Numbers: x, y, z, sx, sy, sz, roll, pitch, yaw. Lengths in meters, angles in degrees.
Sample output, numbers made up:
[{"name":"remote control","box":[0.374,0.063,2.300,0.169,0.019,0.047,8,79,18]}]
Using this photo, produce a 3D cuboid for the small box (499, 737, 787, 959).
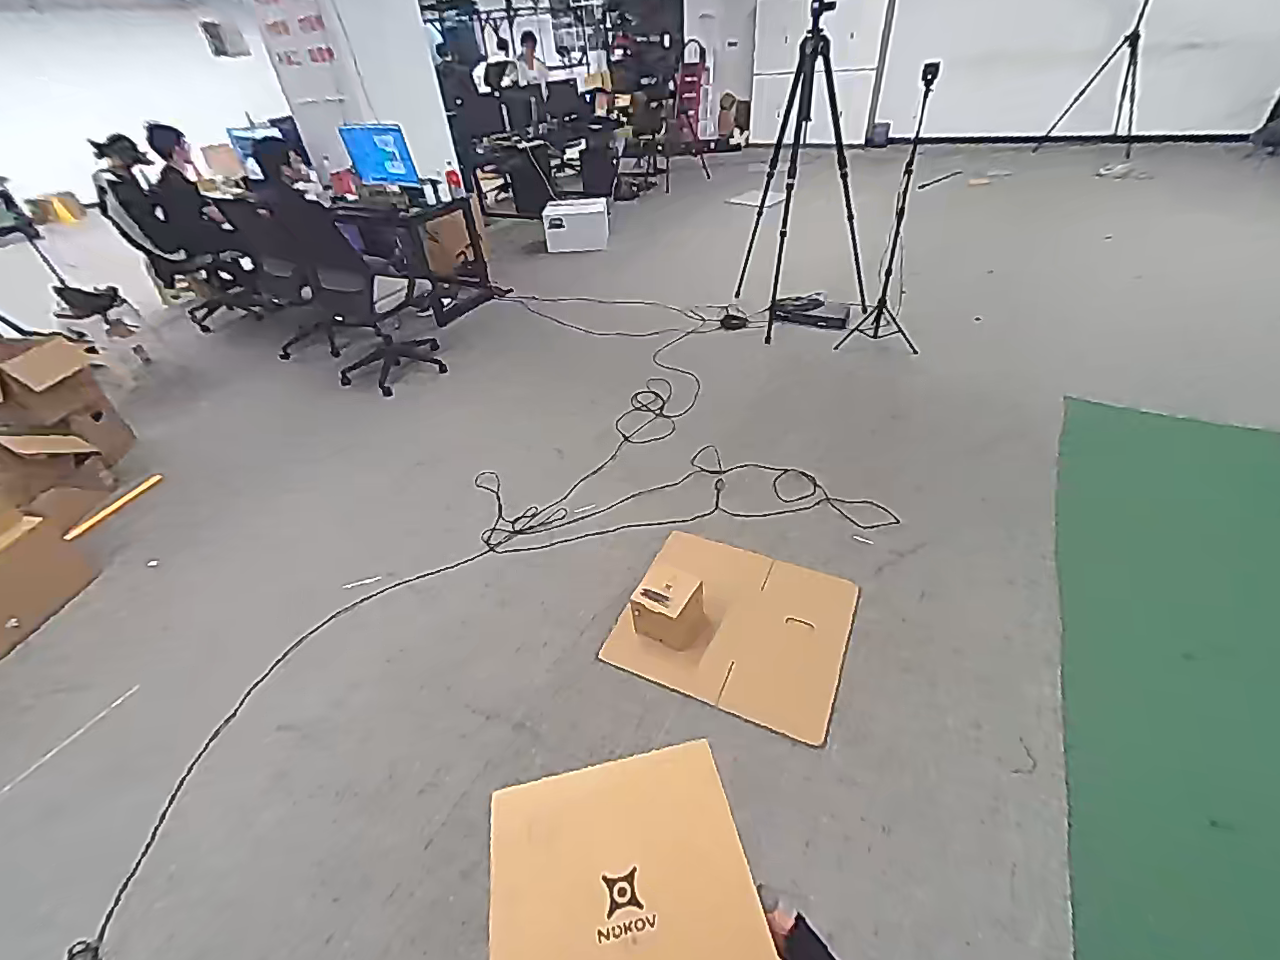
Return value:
[{"name":"small box","box":[-0.001,0.323,0.382,0.168,0.176,0.179,-10,36,-8]}]
